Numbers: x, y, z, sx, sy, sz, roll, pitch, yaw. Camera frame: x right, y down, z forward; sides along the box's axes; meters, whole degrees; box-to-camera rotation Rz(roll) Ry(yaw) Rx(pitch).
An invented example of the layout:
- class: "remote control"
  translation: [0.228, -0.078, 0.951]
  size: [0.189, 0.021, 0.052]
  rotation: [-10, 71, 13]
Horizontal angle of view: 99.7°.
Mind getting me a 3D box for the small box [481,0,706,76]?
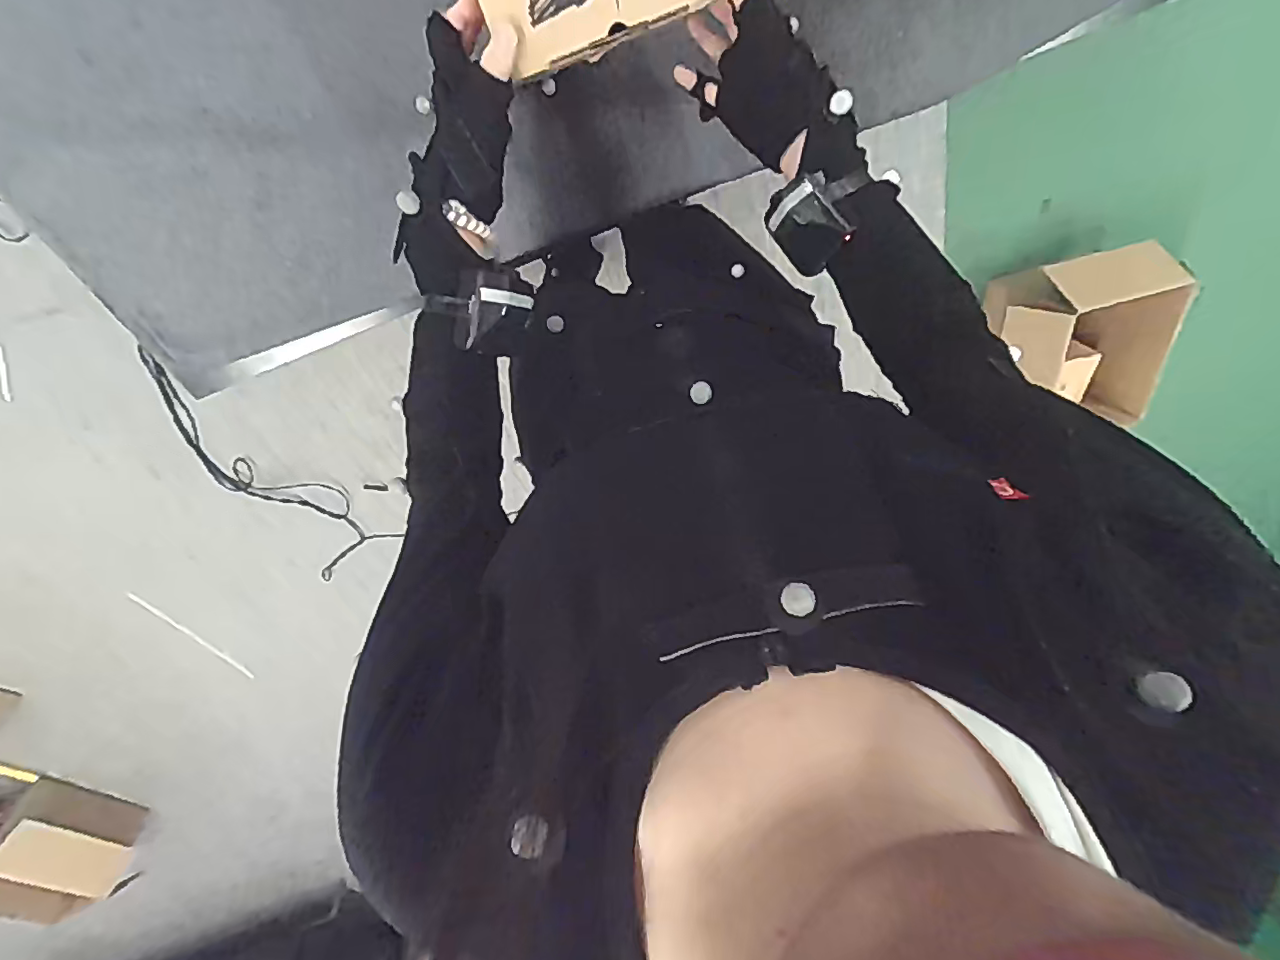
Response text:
- class: "small box"
  translation: [-0.052, -0.417, 0.384]
  size: [0.168, 0.176, 0.179]
  rotation: [-21, 125, 2]
